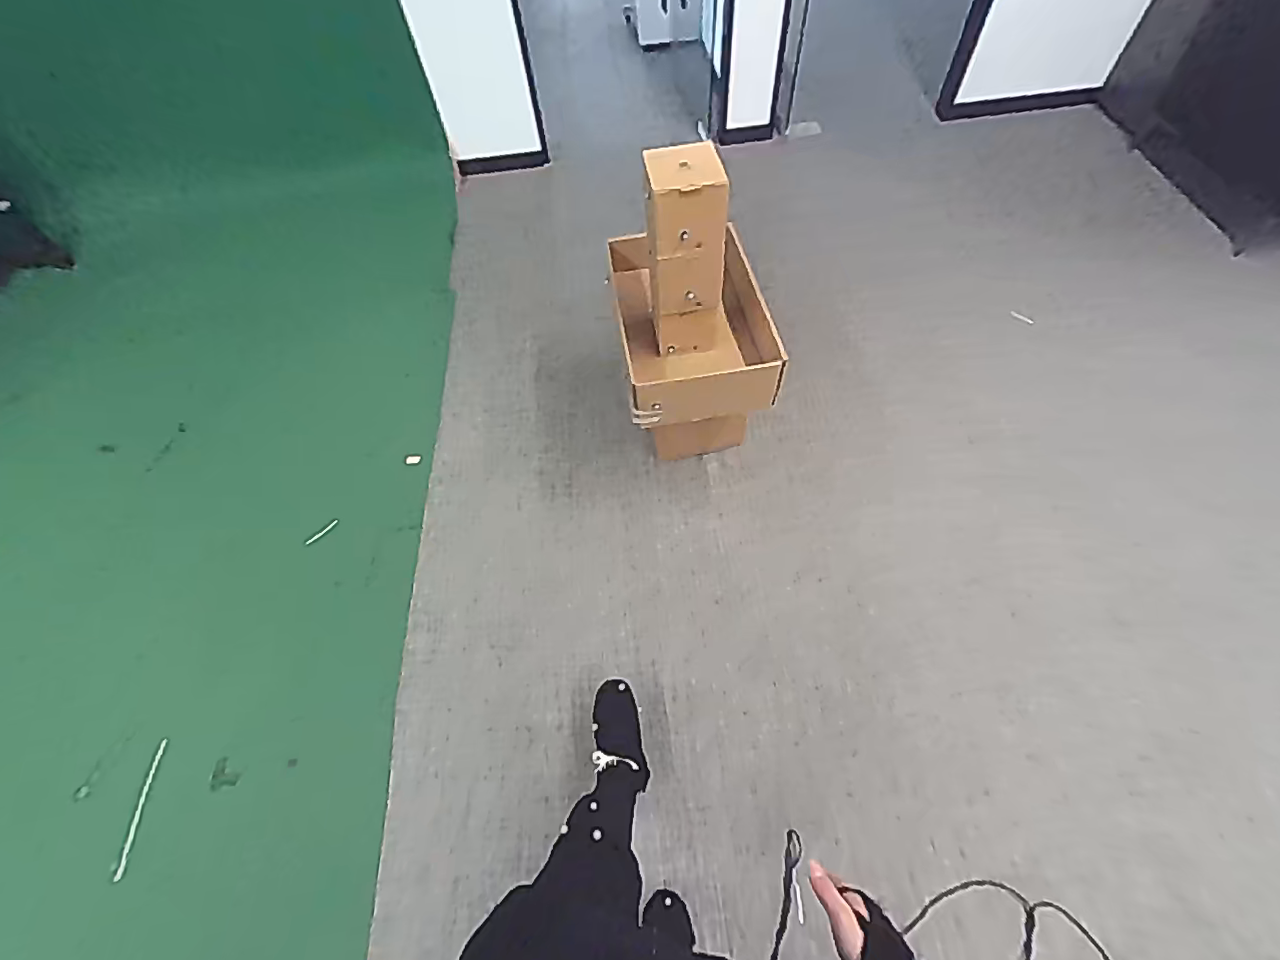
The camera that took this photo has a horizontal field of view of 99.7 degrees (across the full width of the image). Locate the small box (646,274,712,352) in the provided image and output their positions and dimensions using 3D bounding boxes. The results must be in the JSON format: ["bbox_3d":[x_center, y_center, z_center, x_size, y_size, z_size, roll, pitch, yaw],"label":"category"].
[{"bbox_3d":[0.111,-0.481,1.540,0.168,0.176,0.179,-8,57,-1],"label":"small box"}]

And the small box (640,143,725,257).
[{"bbox_3d":[0.093,-0.649,1.260,0.168,0.176,0.179,-9,58,-2],"label":"small box"}]

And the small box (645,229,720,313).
[{"bbox_3d":[0.104,-0.560,1.395,0.168,0.176,0.179,-9,58,-1],"label":"small box"}]
